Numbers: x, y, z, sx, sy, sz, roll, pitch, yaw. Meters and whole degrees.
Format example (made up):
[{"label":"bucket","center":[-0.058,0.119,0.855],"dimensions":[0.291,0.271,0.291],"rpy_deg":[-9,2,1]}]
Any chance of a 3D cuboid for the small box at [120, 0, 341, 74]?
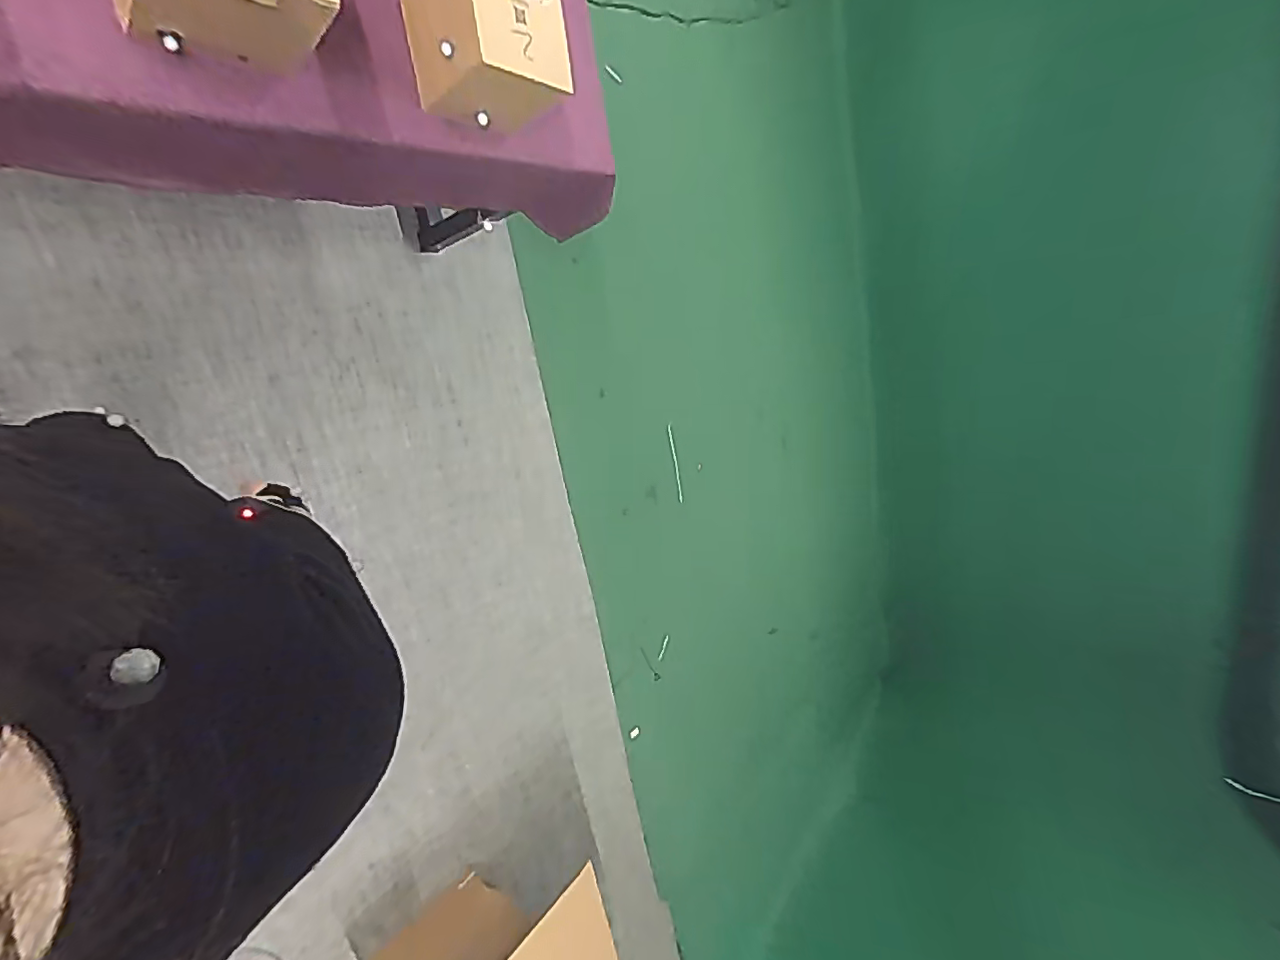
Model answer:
[{"label":"small box","center":[-0.447,-0.572,0.564],"dimensions":[0.168,0.176,0.179],"rpy_deg":[-23,107,-45]}]
